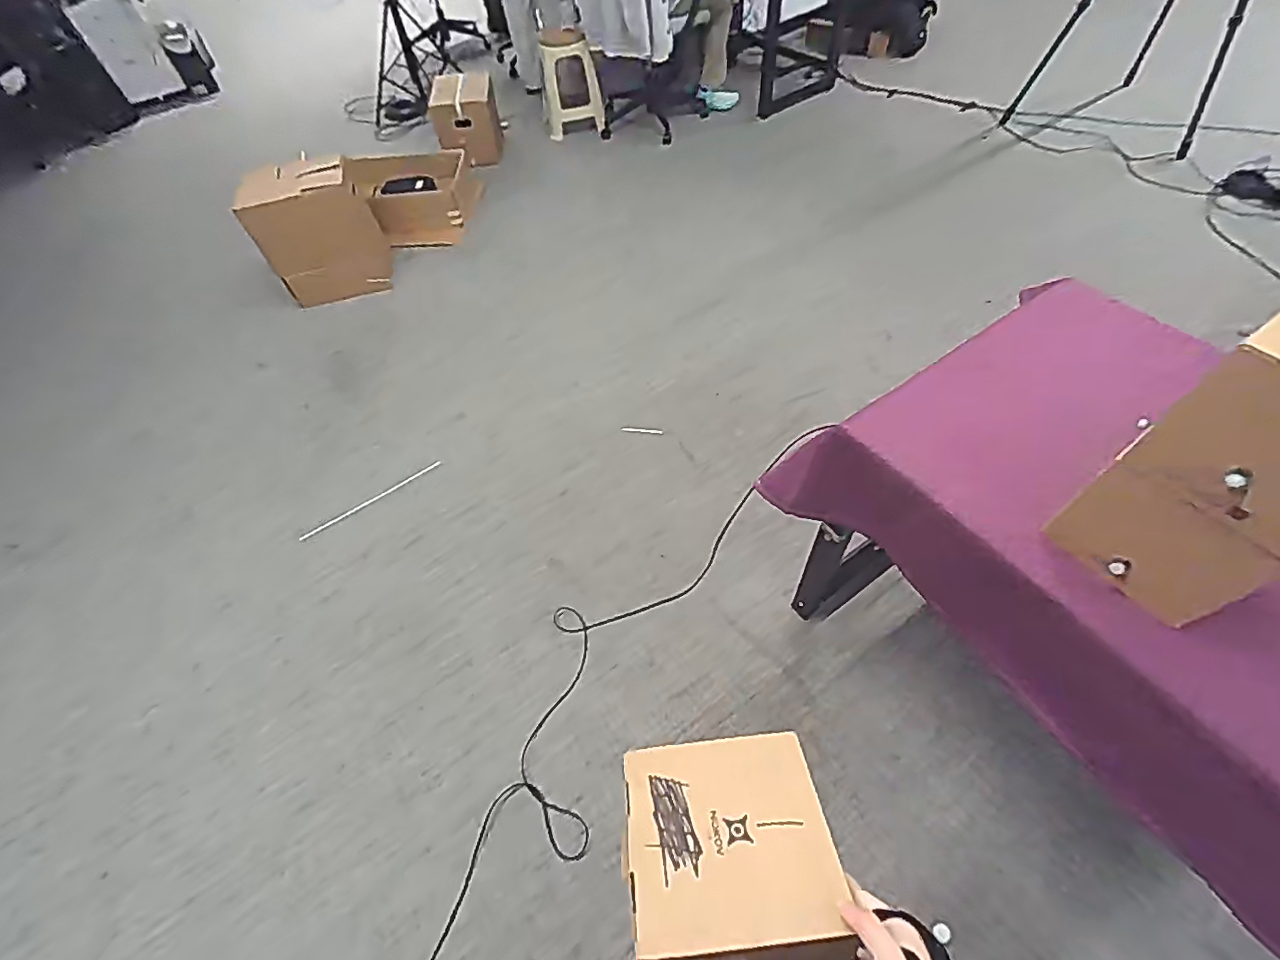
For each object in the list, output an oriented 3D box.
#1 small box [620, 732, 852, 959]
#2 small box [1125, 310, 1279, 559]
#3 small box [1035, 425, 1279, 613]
[{"bbox_3d":[0.079,0.377,0.524,0.179,0.176,0.168,-6,33,-3],"label":"small box"},{"bbox_3d":[0.640,-0.058,0.523,0.179,0.176,0.168,-31,58,-16],"label":"small box"},{"bbox_3d":[0.646,0.039,0.657,0.168,0.176,0.179,-32,59,-17],"label":"small box"}]
